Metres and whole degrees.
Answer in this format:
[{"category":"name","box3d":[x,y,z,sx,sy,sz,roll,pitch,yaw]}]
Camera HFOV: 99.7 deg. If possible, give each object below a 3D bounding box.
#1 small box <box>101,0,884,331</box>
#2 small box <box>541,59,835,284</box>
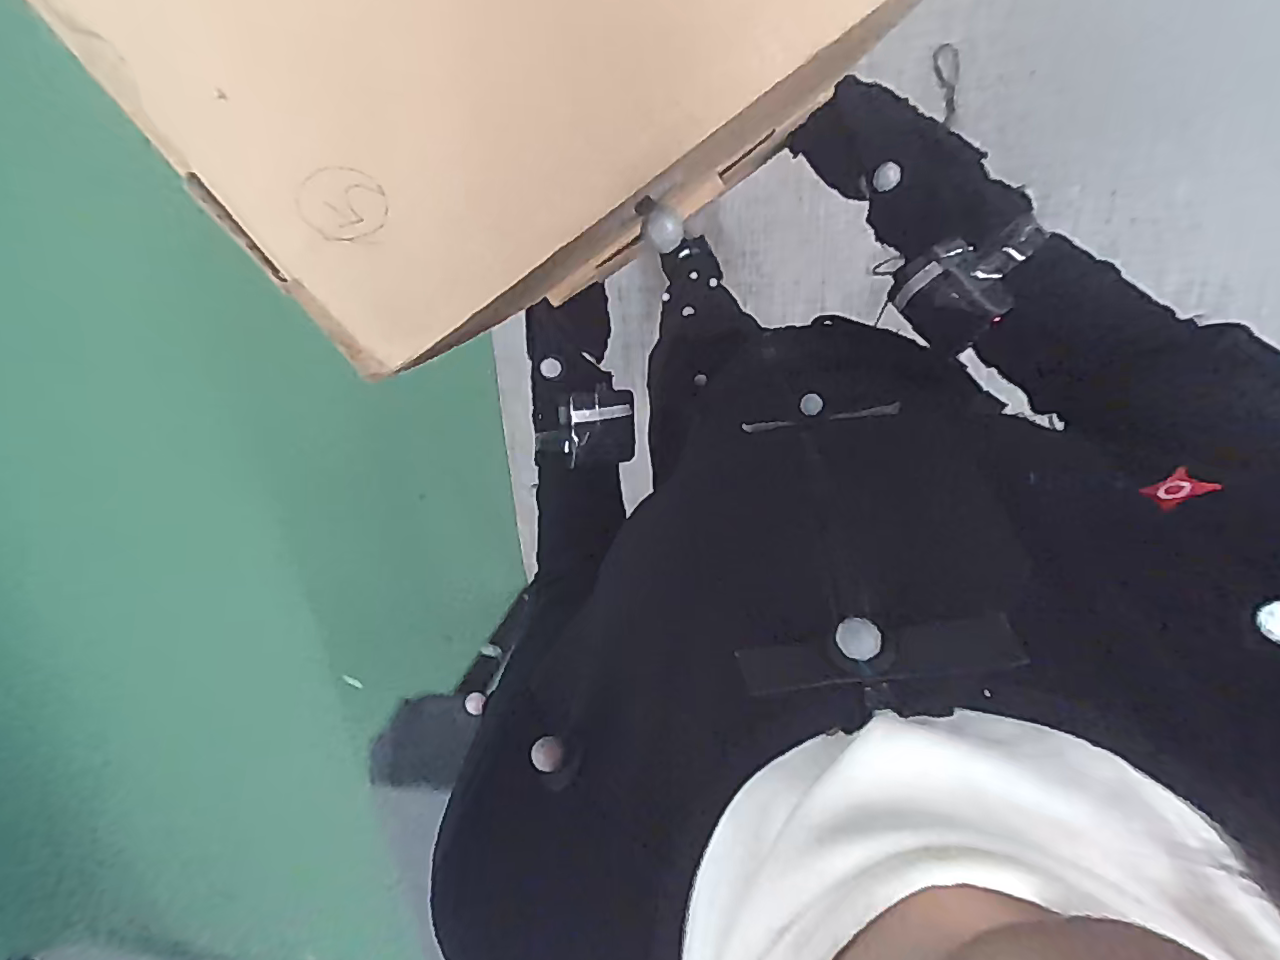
[{"category":"small box","box3d":[-0.031,-0.172,0.157,0.179,0.176,0.168,-28,111,17]},{"category":"small box","box3d":[-0.017,-0.241,0.303,0.168,0.176,0.179,-29,110,19]}]
